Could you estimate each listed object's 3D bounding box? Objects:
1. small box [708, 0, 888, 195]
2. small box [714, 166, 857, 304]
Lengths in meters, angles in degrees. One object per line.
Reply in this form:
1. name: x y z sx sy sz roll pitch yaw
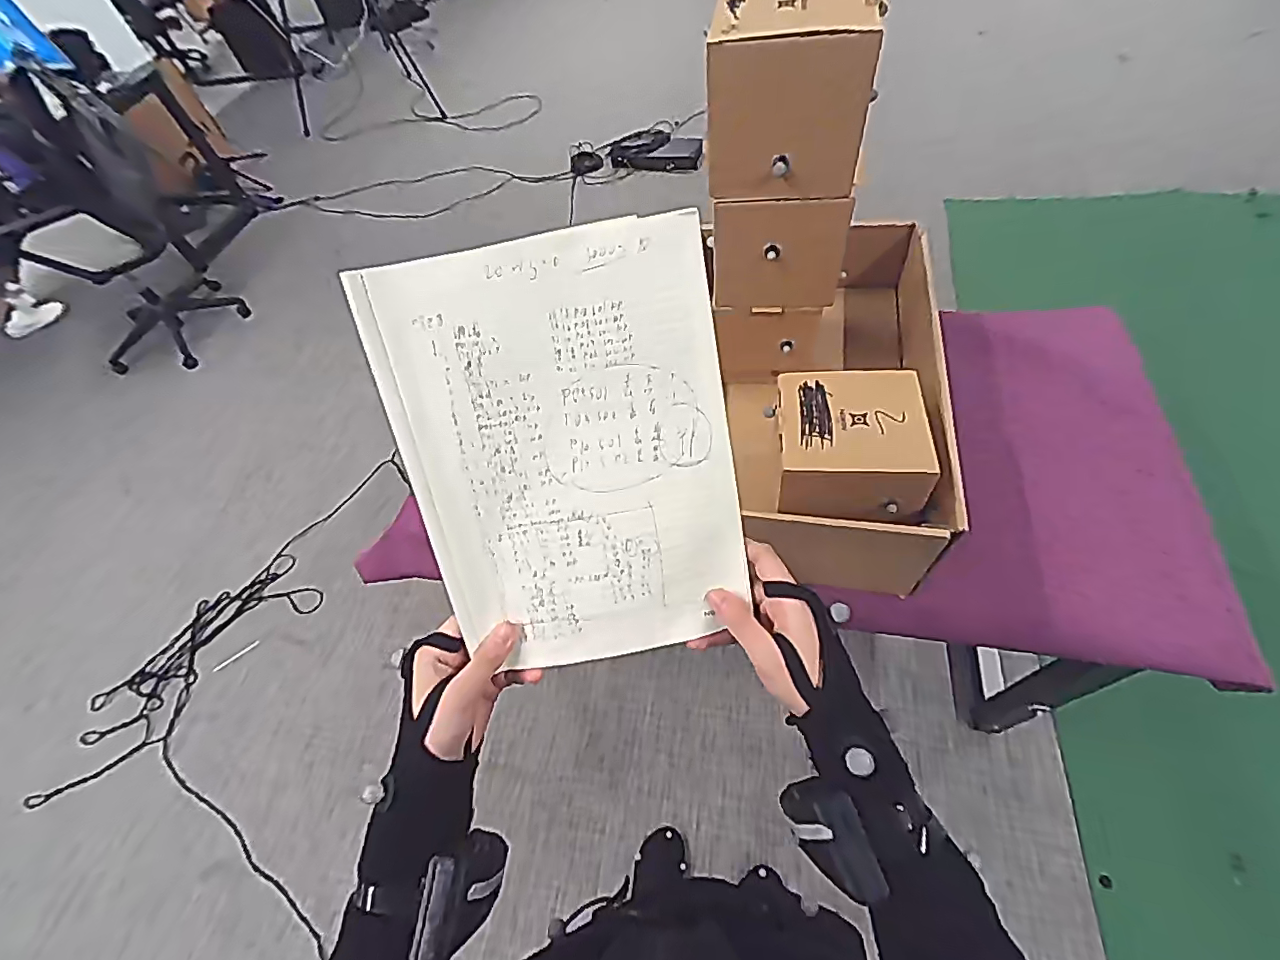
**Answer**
1. small box: 0.179 -0.465 0.647 0.179 0.176 0.168 6 58 11
2. small box: 0.201 -0.371 0.781 0.179 0.176 0.168 3 57 11
